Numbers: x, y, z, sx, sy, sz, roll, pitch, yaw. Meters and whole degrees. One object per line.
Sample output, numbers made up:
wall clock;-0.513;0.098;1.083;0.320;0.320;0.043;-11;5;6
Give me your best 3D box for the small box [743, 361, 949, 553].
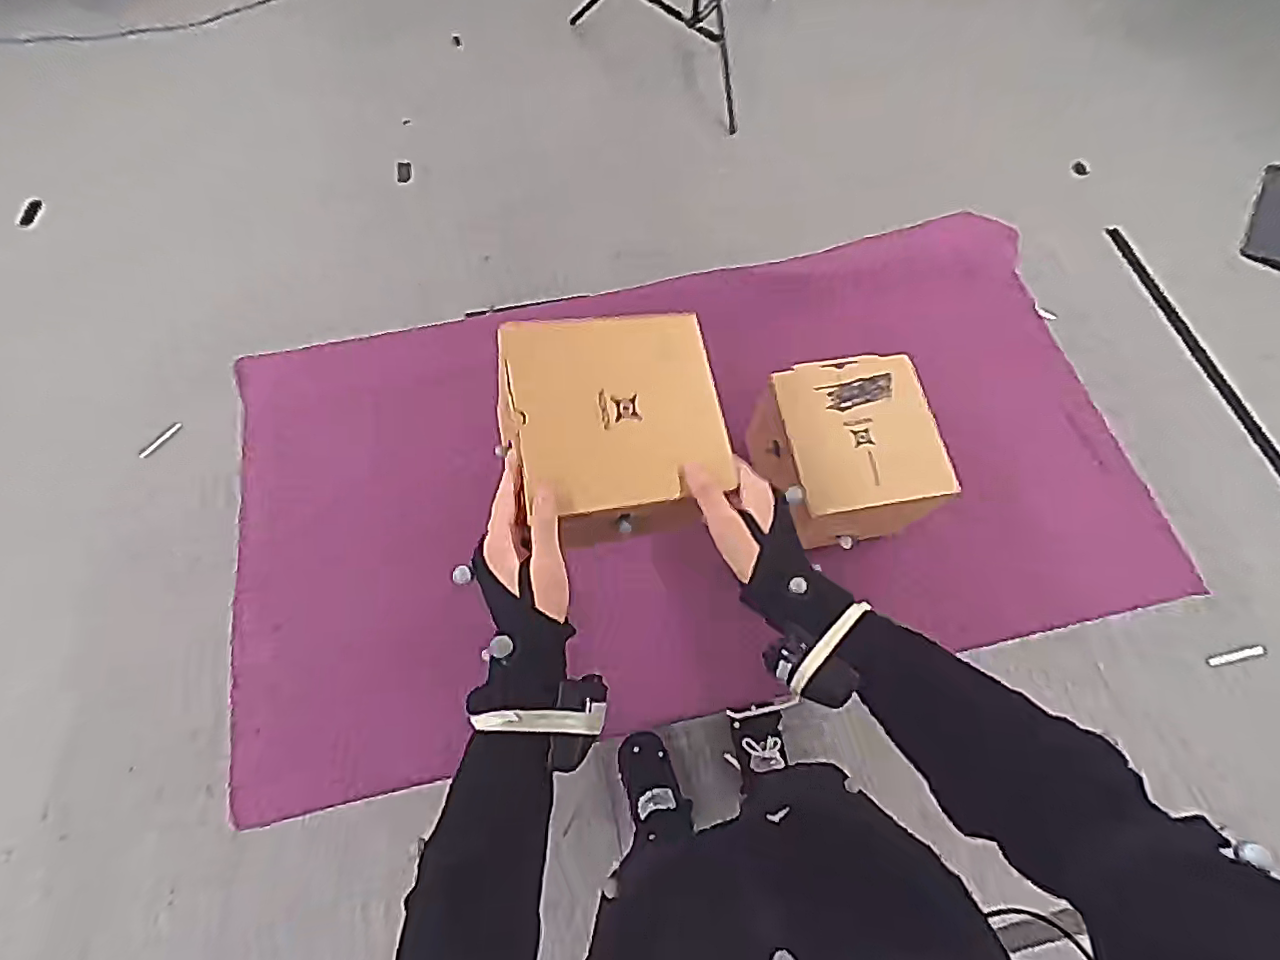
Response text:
small box;0.236;-0.021;0.674;0.168;0.176;0.179;-9;70;-3
